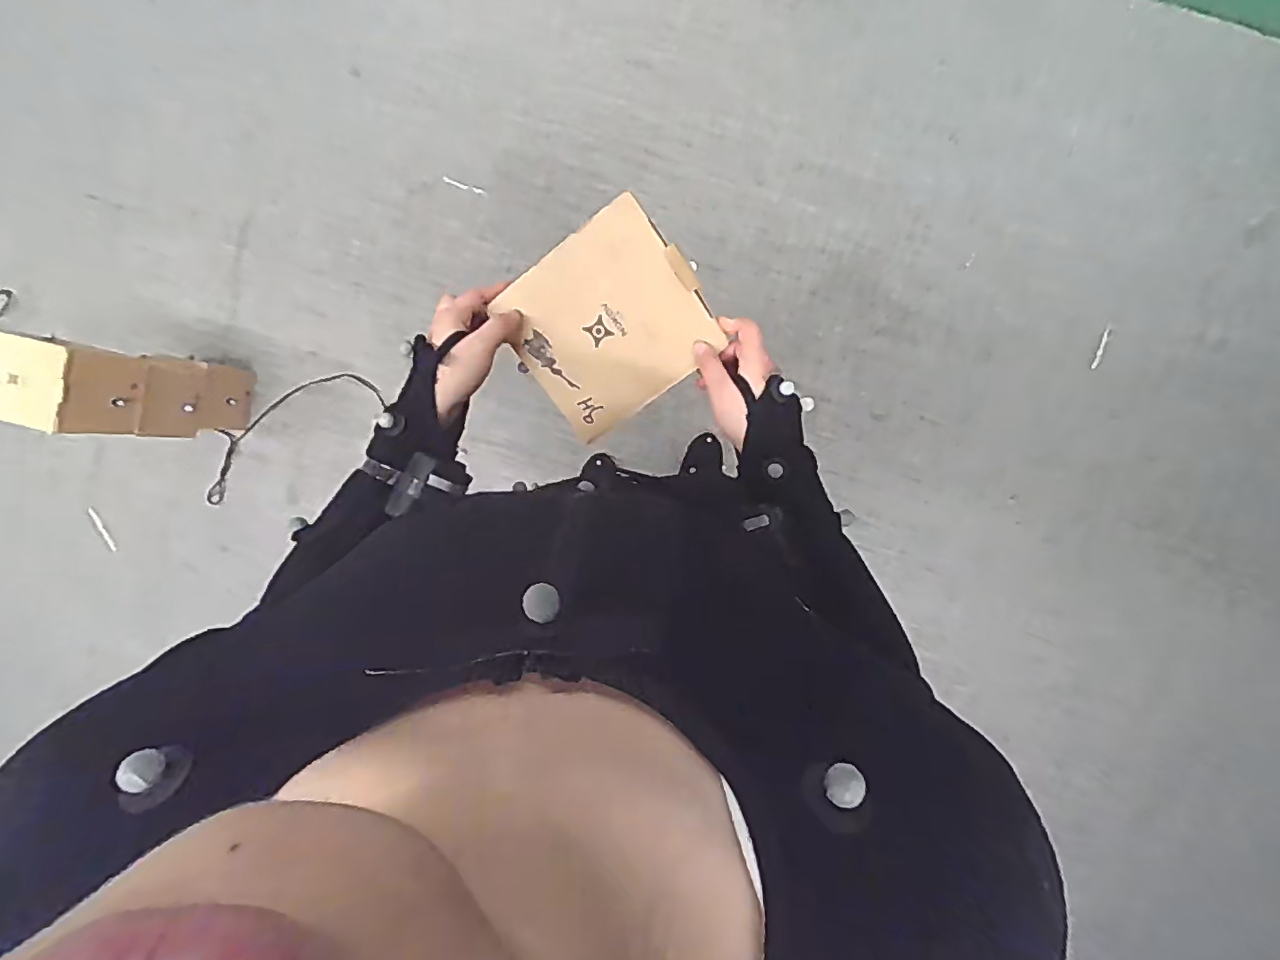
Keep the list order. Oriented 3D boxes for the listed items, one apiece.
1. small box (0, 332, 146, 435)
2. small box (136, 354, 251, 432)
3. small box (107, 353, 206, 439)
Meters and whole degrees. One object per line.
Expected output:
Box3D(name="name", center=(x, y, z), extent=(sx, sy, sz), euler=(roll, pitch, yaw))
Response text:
Box3D(name="small box", center=(-1.161, -0.186, 1.083), extent=(0.179, 0.176, 0.168), euler=(13, 94, -1))
Box3D(name="small box", center=(-1.160, -0.220, 1.408), extent=(0.179, 0.176, 0.168), euler=(10, 93, 1))
Box3D(name="small box", center=(-1.164, -0.192, 1.246), extent=(0.179, 0.176, 0.168), euler=(14, 94, -1))
